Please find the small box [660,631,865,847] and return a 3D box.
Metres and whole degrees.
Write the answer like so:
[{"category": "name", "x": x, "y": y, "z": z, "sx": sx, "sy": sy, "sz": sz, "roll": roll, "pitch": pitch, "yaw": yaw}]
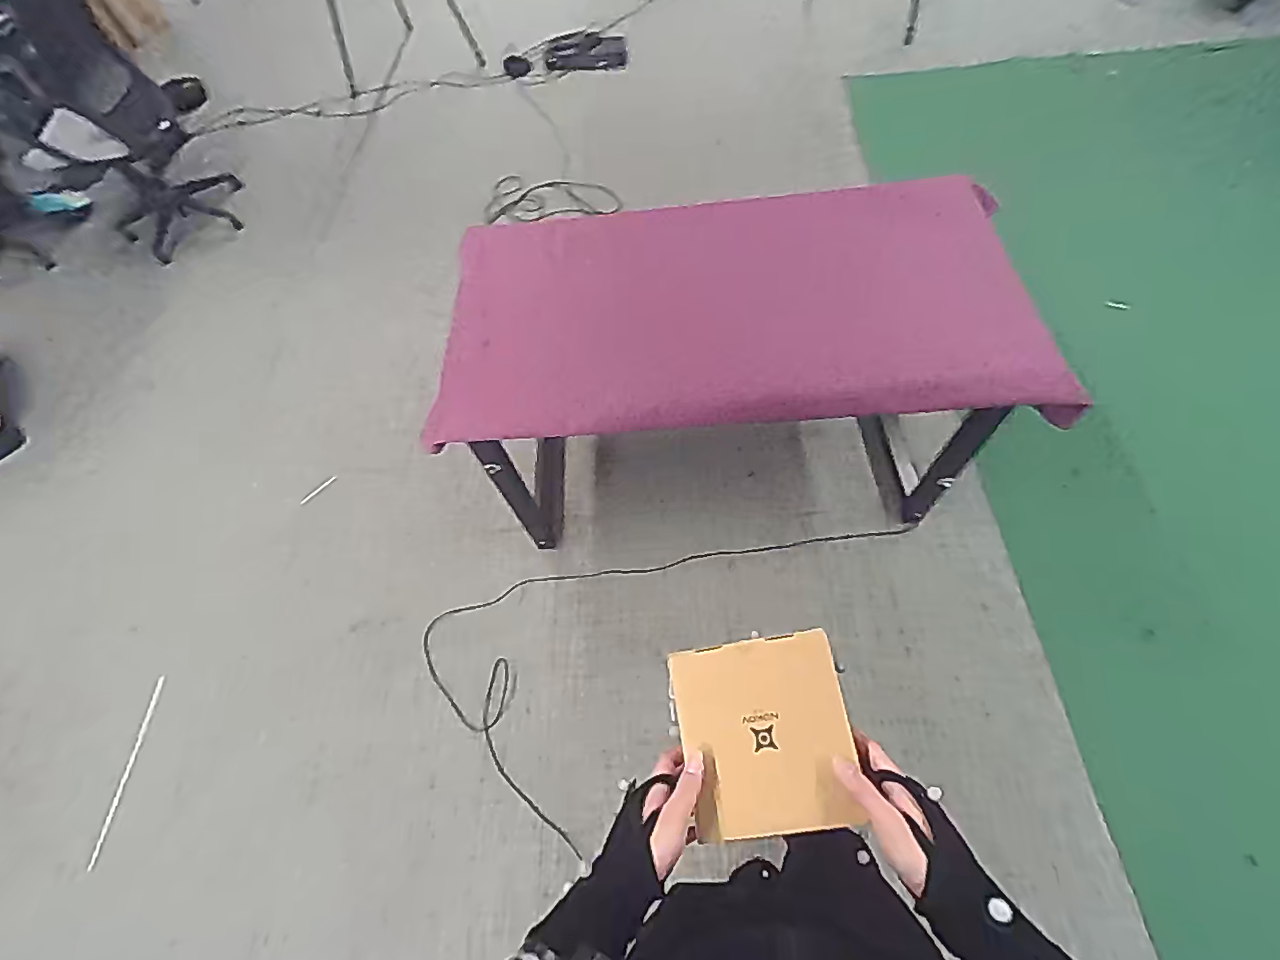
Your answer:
[{"category": "small box", "x": 0.130, "y": 0.271, "z": 0.598, "sx": 0.168, "sy": 0.176, "sz": 0.179, "roll": -13, "pitch": 70, "yaw": 8}]
